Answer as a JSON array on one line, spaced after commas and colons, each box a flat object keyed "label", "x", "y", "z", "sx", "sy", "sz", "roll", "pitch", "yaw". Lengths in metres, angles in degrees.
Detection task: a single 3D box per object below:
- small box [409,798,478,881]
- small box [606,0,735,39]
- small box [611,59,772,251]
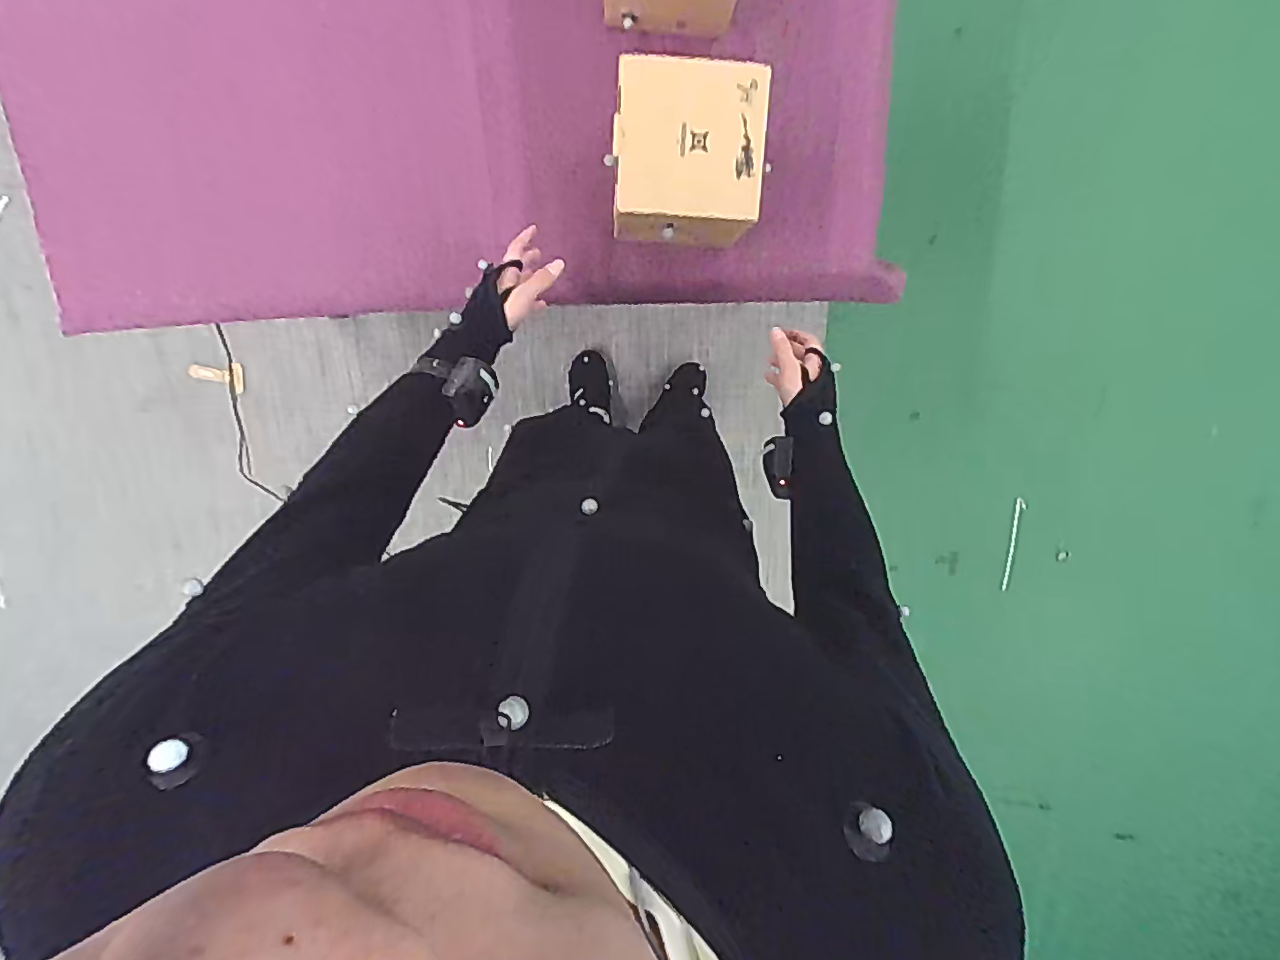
[{"label": "small box", "x": -0.649, "y": 1.200, "z": 1.813, "sx": 0.179, "sy": 0.176, "sz": 0.168, "roll": -2, "pitch": 104, "yaw": -1}, {"label": "small box", "x": 0.044, "y": -0.668, "z": 0.640, "sx": 0.168, "sy": 0.176, "sz": 0.179, "roll": 4, "pitch": 103, "yaw": -3}, {"label": "small box", "x": 0.056, "y": -0.405, "z": 0.703, "sx": 0.179, "sy": 0.176, "sz": 0.168, "roll": 3, "pitch": 102, "yaw": -3}]
